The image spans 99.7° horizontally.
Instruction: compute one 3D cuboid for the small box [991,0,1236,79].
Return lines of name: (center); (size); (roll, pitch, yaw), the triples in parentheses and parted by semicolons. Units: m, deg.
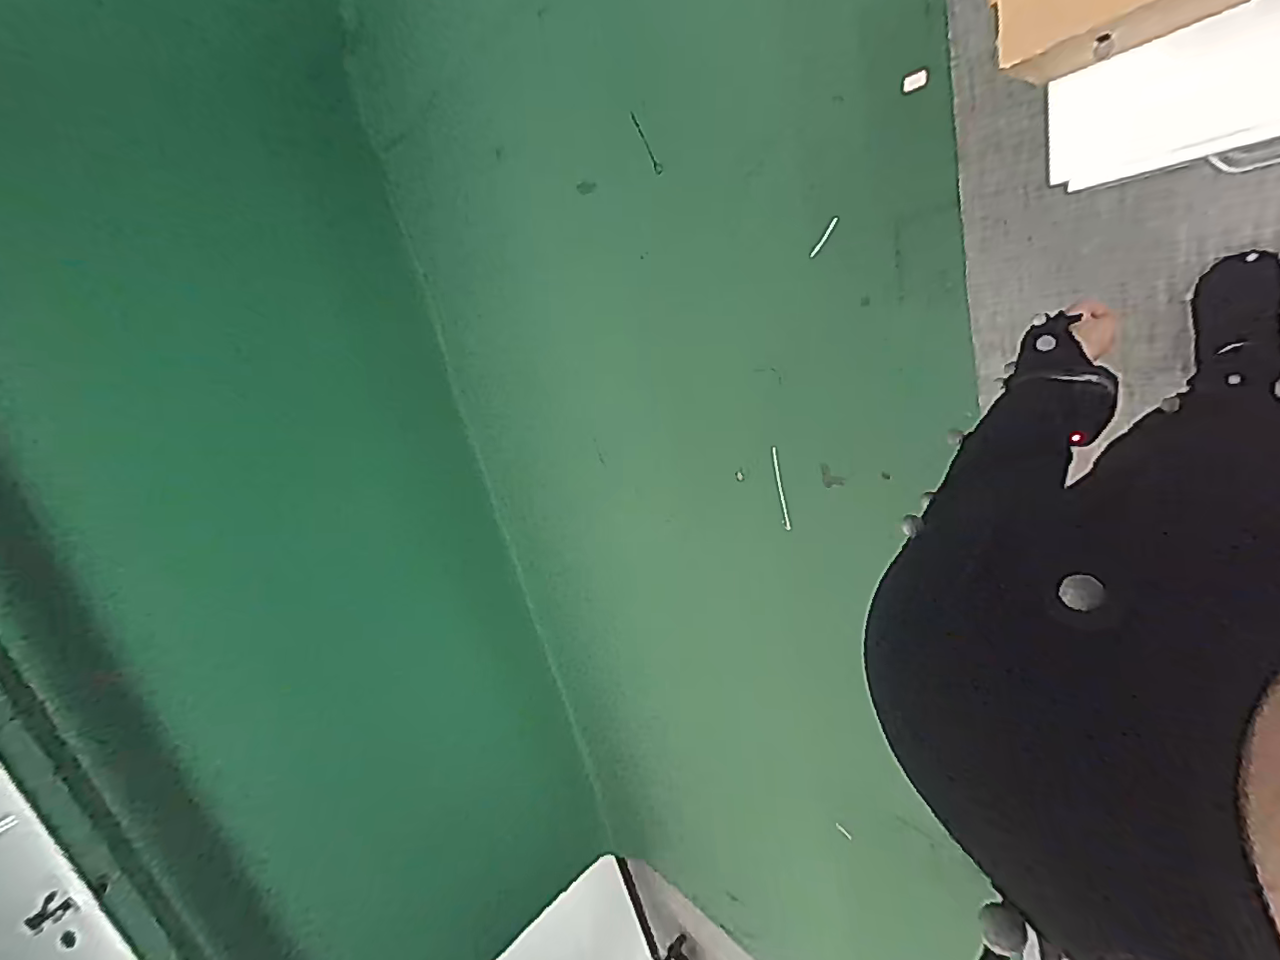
small box: (0.453, -0.511, 0.506); (0.179, 0.176, 0.168); (4, 114, 48)
